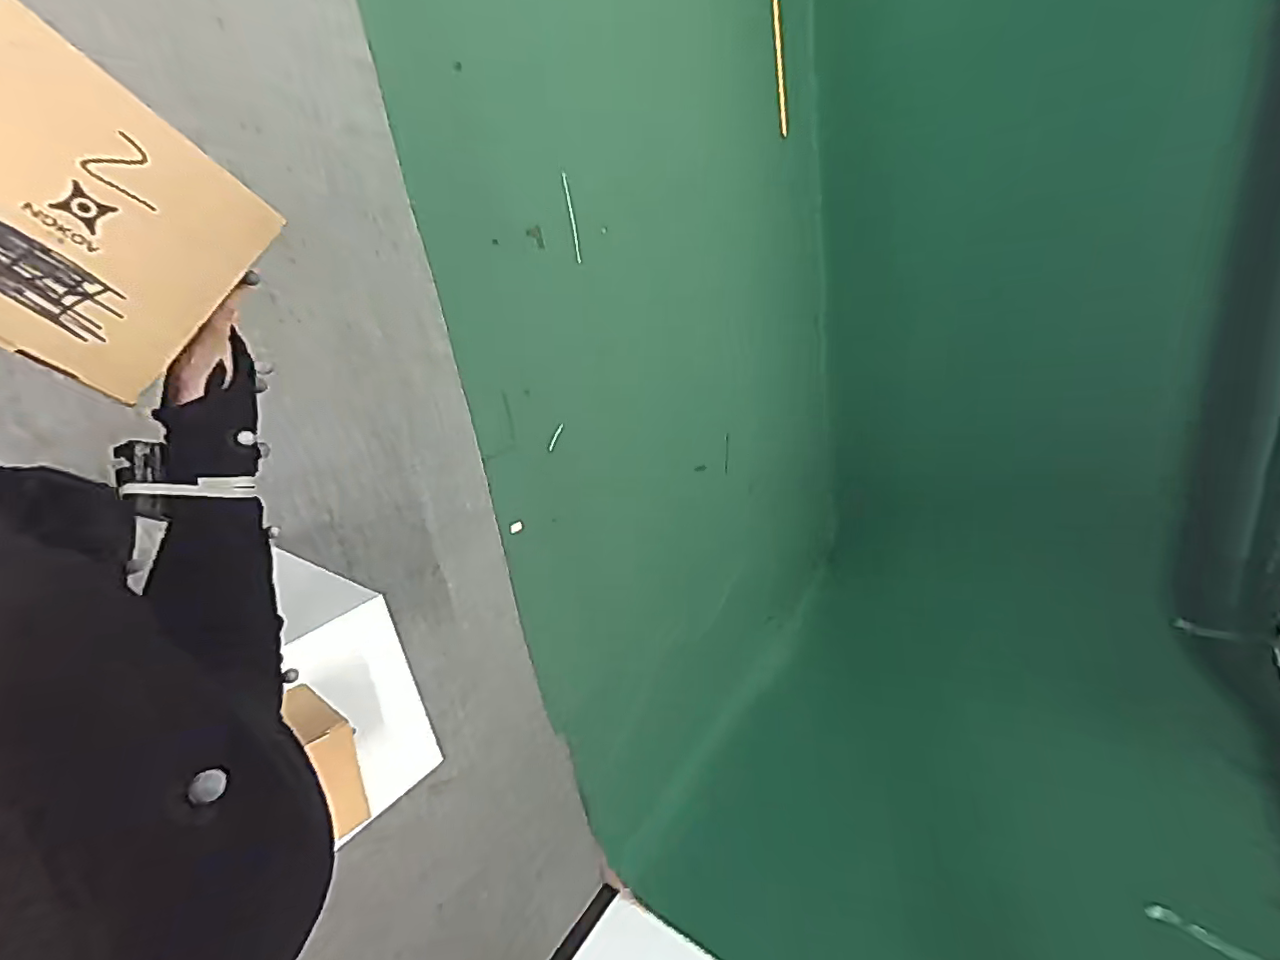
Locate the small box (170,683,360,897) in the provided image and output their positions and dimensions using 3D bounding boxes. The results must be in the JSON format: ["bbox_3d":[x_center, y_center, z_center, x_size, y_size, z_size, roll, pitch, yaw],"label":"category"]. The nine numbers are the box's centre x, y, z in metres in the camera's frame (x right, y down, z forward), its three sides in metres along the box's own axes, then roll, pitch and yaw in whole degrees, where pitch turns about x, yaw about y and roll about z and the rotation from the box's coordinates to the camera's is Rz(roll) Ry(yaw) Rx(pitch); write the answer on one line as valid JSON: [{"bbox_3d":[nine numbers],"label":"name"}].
[{"bbox_3d":[-0.541,0.431,0.786,0.168,0.176,0.179,-22,113,-49],"label":"small box"}]
